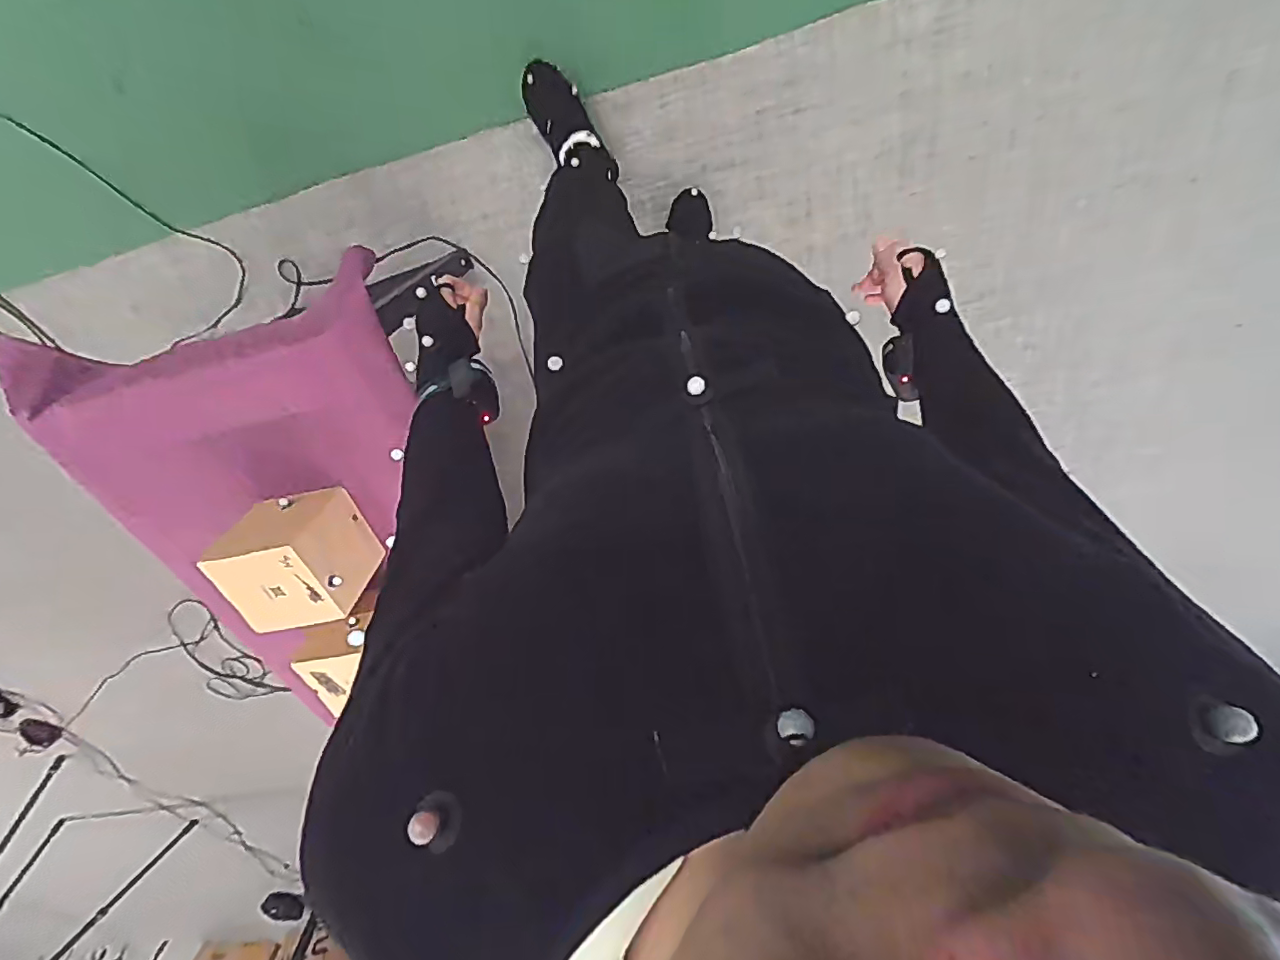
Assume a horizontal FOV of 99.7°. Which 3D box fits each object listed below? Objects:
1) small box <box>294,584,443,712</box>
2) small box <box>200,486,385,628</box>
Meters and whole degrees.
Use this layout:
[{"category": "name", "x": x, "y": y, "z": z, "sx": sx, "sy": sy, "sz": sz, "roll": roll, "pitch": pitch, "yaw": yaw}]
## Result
[{"category": "small box", "x": -0.523, "y": 0.329, "z": 1.071, "sx": 0.179, "sy": 0.176, "sz": 0.168, "roll": -10, "pitch": 122, "yaw": 8}, {"category": "small box", "x": -0.588, "y": 0.131, "z": 0.942, "sx": 0.179, "sy": 0.176, "sz": 0.168, "roll": -10, "pitch": 123, "yaw": 9}]
